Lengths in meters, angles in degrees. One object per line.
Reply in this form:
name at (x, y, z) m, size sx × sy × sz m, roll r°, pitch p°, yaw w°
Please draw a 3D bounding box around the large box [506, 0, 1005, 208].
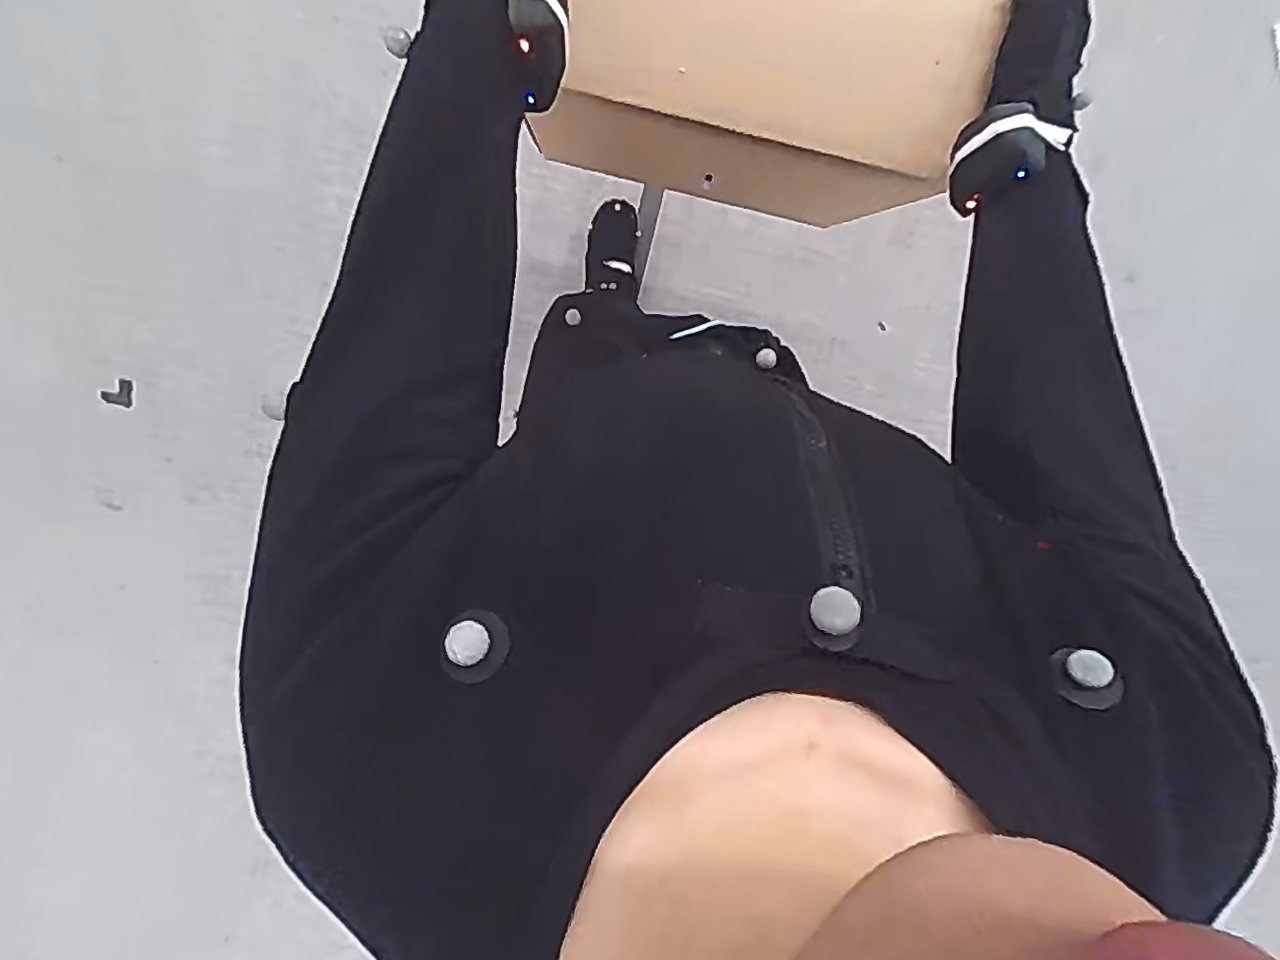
large box at (0.108, -0.503, 0.555) m, size 0.408 × 0.320 × 0.320 m, roll 11°, pitch 108°, yaw -6°
